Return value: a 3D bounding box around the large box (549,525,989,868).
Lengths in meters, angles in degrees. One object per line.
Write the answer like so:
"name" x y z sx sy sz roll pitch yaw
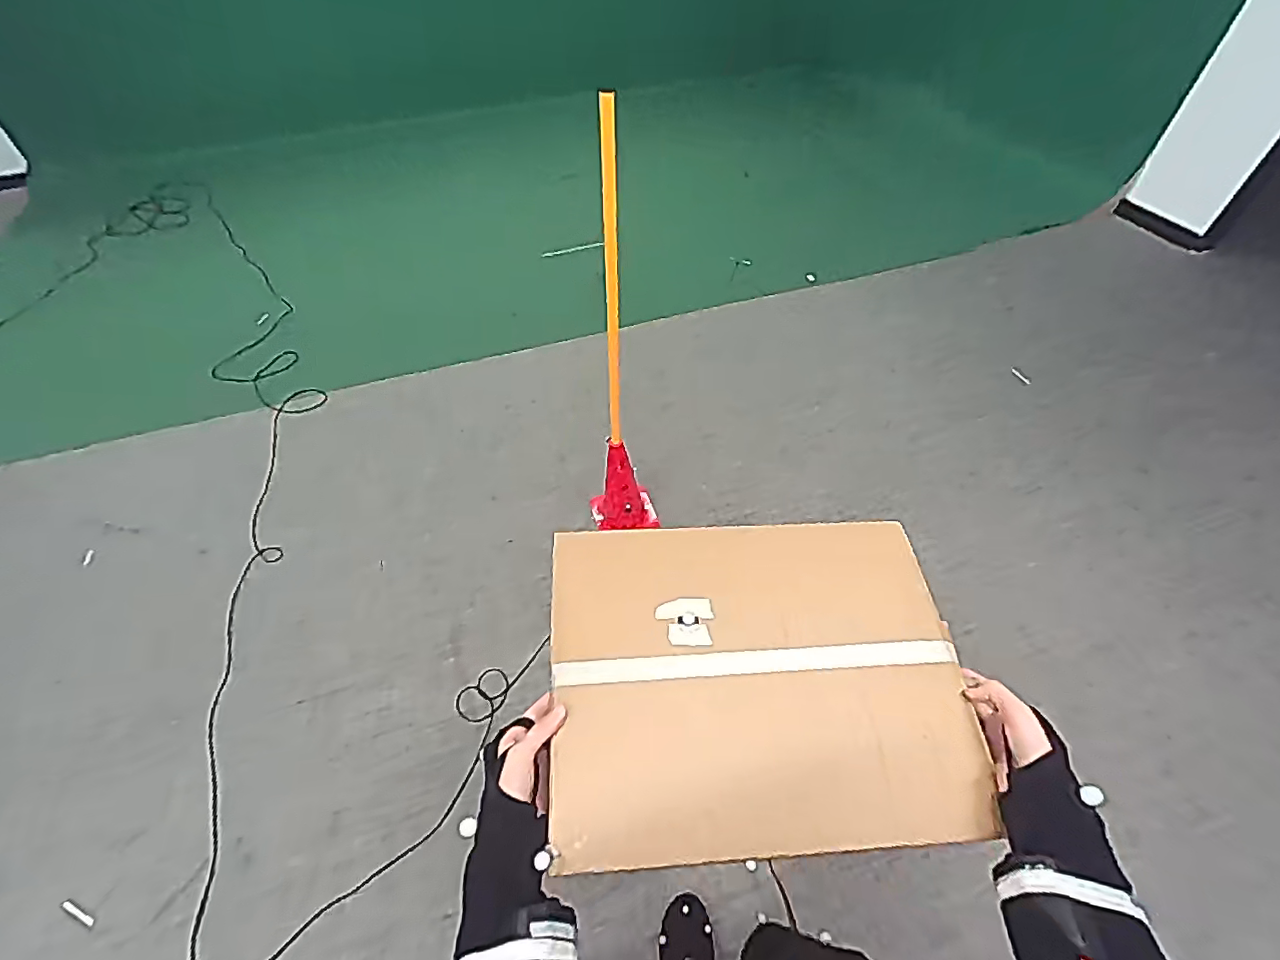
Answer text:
"large box" 0.106 0.269 0.677 0.408 0.320 0.320 -2 57 -4
